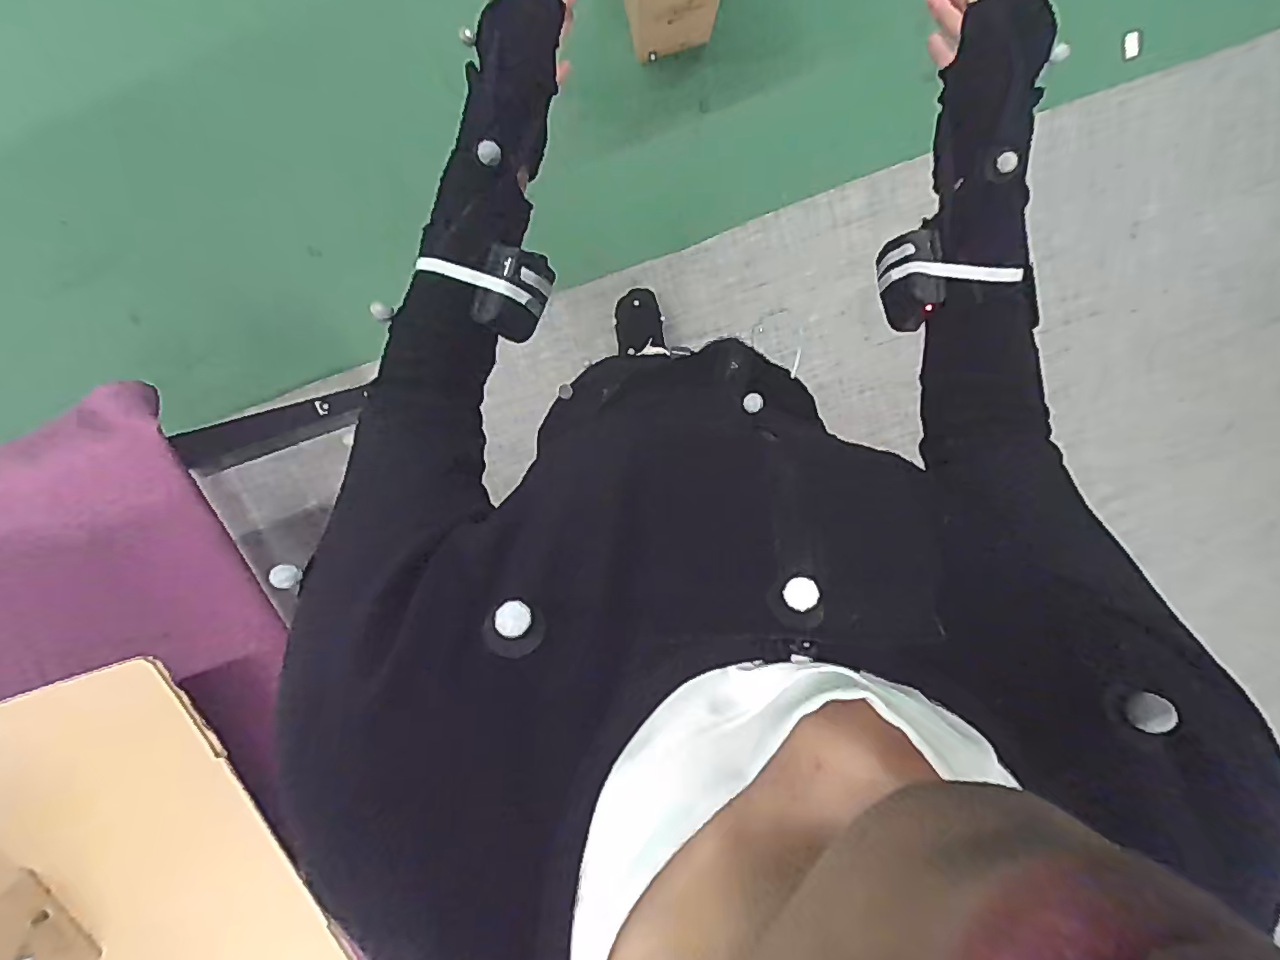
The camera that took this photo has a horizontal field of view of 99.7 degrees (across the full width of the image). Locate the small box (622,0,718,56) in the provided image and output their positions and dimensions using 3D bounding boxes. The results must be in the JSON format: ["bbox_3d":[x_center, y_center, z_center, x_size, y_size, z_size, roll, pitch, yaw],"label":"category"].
[{"bbox_3d":[0.051,-1.007,1.101,0.168,0.176,0.179,-17,108,4],"label":"small box"}]

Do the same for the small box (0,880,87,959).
[{"bbox_3d":[-0.816,0.603,0.613,0.179,0.176,0.168,-15,107,5],"label":"small box"}]
